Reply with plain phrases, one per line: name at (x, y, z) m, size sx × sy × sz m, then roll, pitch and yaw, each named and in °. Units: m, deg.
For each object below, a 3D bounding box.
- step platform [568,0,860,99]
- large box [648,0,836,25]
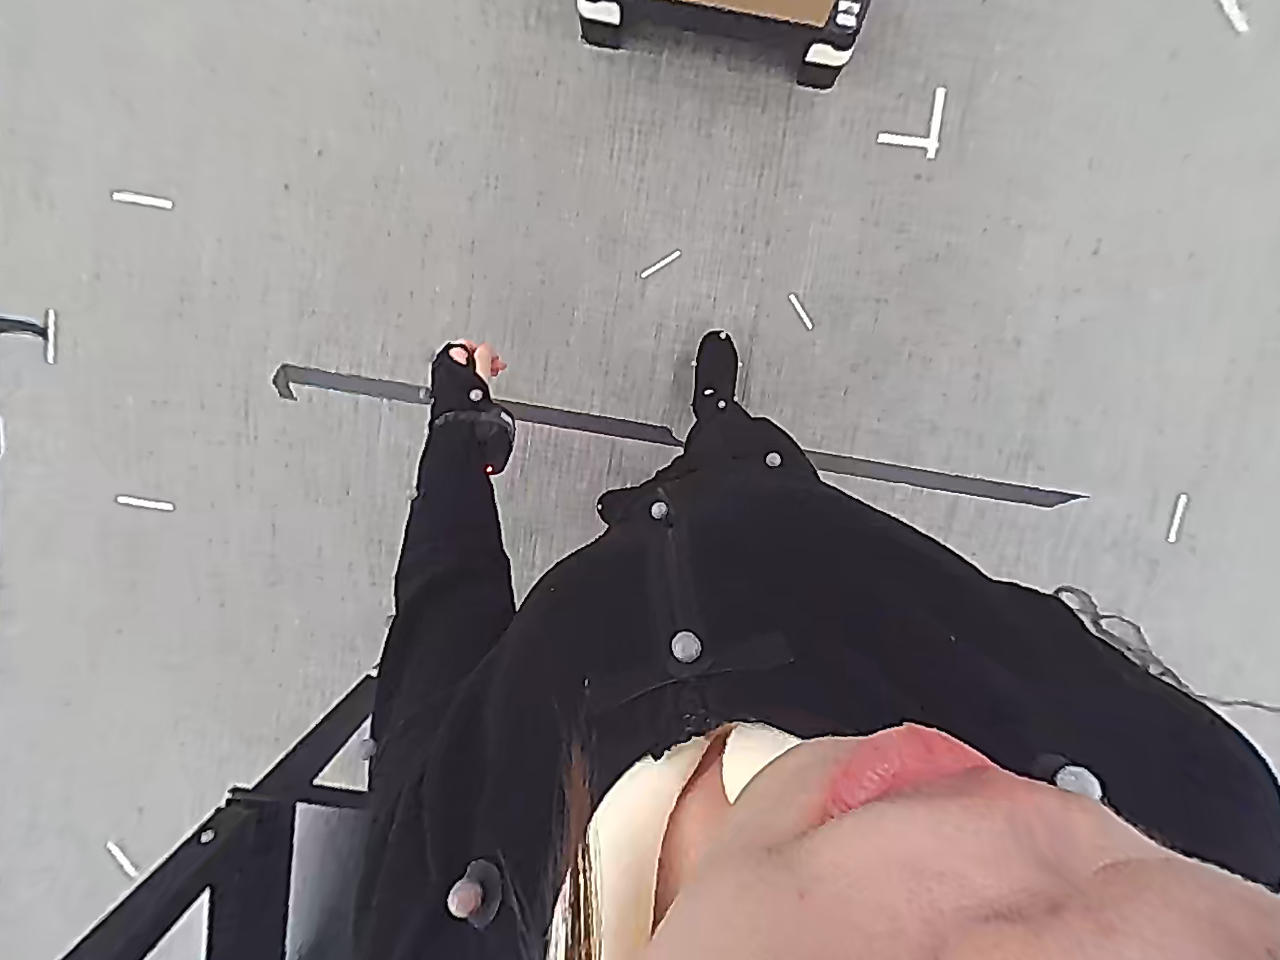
step platform at (0.173, -1.175, 1.272) m, size 0.684 × 0.204 × 0.286 m, roll 14°, pitch 96°, yaw -1°
large box at (0.230, -1.159, 1.034) m, size 0.408 × 0.320 × 0.320 m, roll 8°, pitch 95°, yaw 0°
